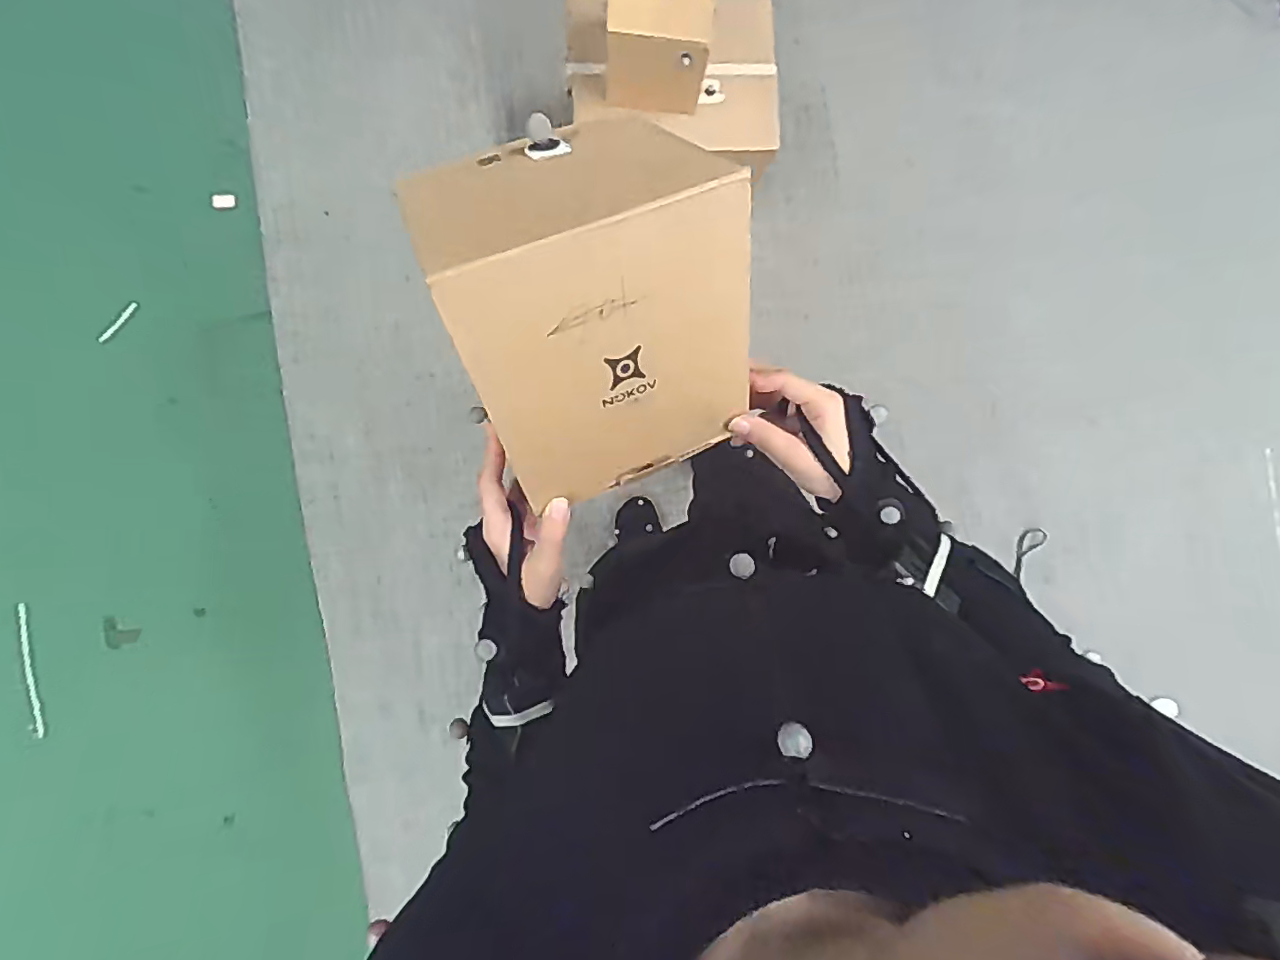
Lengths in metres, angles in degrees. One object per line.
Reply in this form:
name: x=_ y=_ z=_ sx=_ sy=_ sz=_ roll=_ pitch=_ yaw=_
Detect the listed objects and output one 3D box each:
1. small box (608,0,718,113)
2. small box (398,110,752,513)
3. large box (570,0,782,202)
small box: x=0.035 y=-0.784 z=0.950 sx=0.179 sy=0.176 sz=0.168 roll=3 pitch=89 yaw=-5
small box: x=-0.040 y=-0.116 z=0.365 sx=0.168 sy=0.179 sz=0.176 roll=-25 pitch=48 yaw=-10
large box: x=0.060 y=-0.784 z=1.196 sx=0.408 sy=0.320 sz=0.320 roll=-3 pitch=91 yaw=-5
